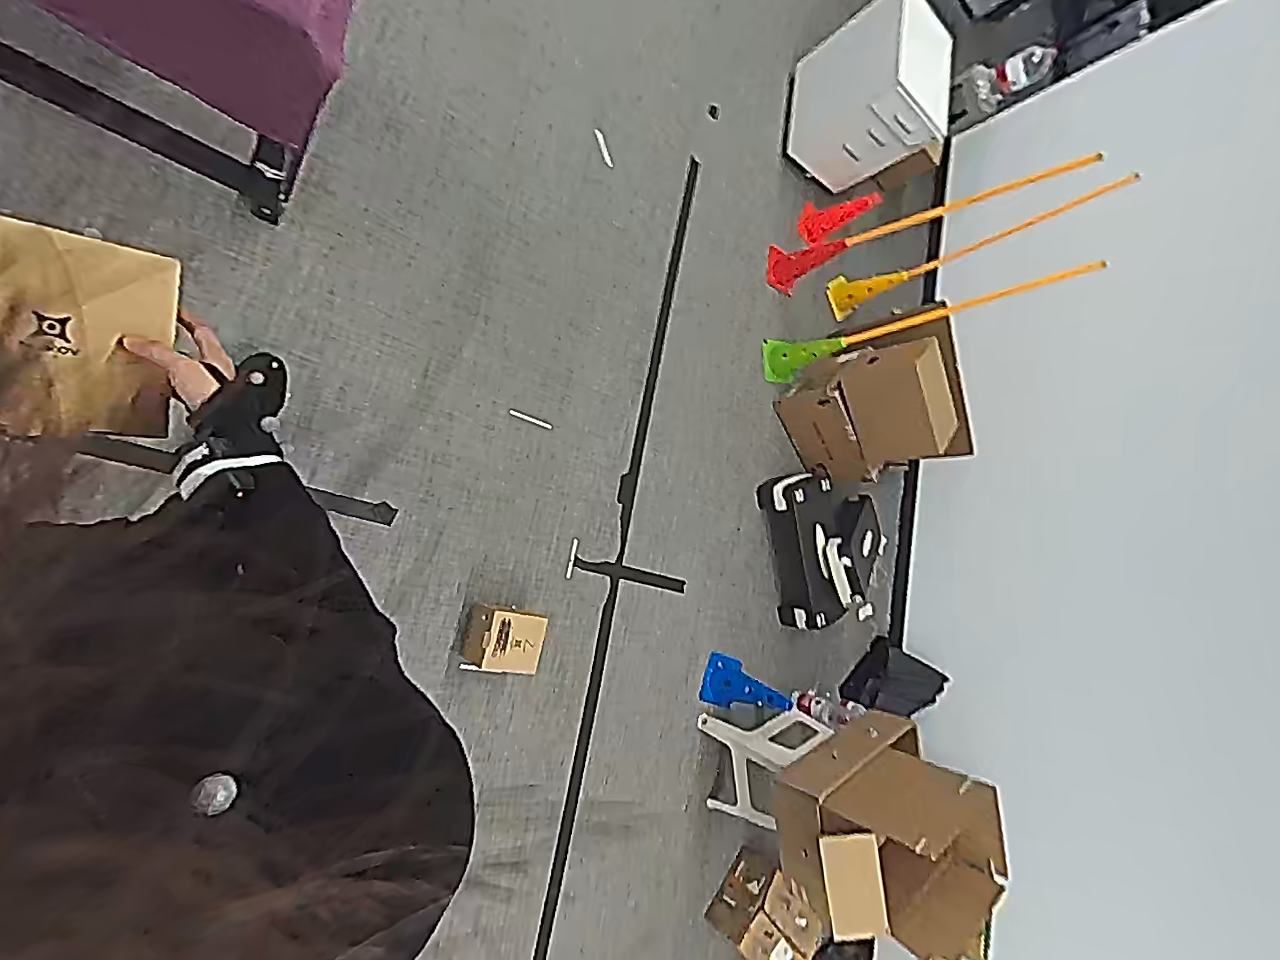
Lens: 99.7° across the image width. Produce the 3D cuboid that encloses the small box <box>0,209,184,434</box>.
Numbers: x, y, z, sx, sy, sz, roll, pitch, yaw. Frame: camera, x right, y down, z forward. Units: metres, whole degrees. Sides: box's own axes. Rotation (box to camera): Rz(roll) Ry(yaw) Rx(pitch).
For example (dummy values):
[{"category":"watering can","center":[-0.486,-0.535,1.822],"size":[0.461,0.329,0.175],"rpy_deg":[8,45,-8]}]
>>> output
[{"category":"small box","center":[-0.564,-0.150,0.522],"size":[0.168,0.176,0.179],"rpy_deg":[1,102,-46]}]
